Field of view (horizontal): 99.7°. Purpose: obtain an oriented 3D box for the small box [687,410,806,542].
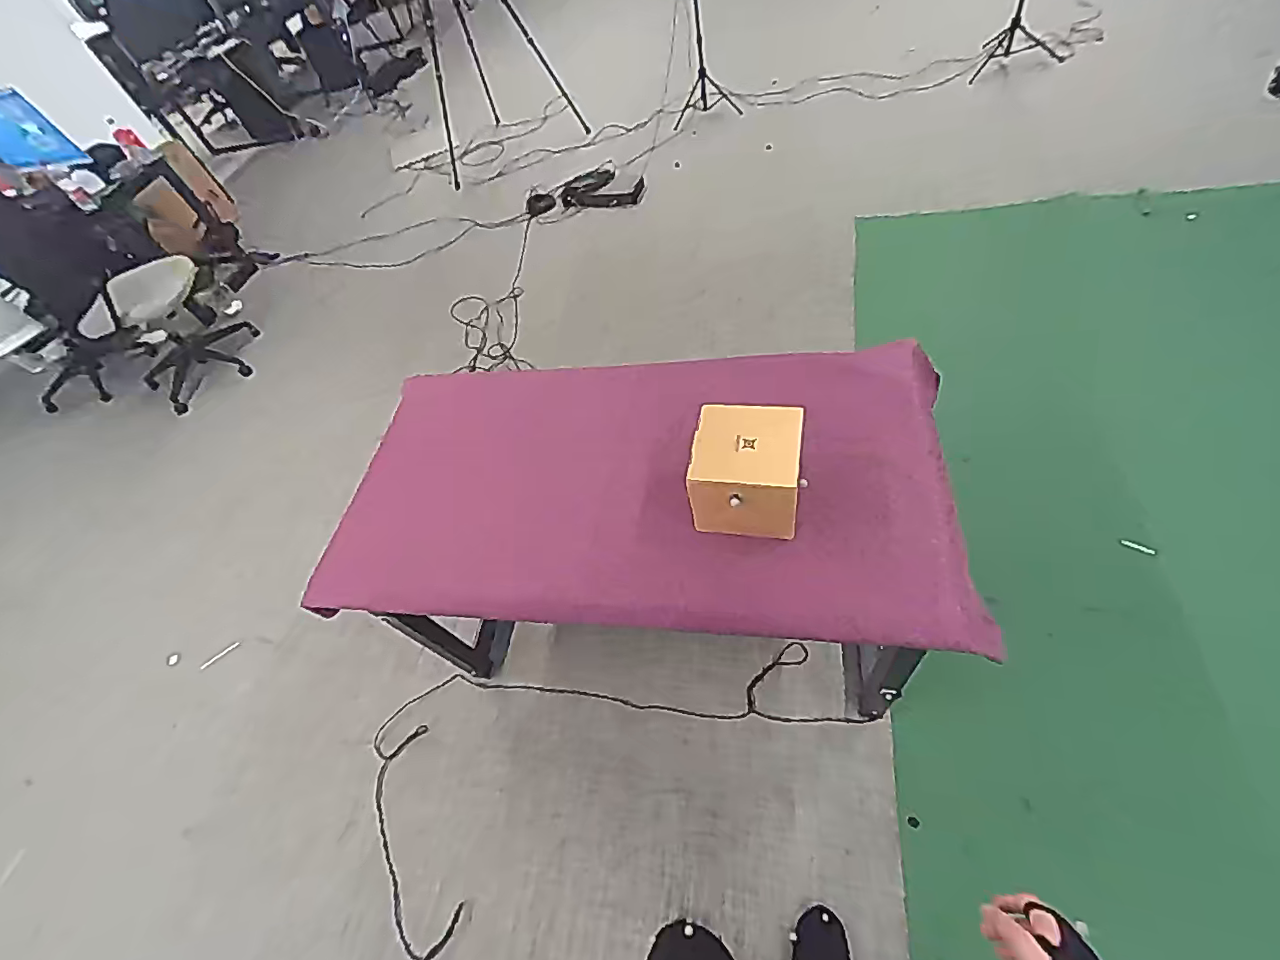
[{"bbox_3d":[0.192,-0.004,0.955,0.179,0.176,0.168,4,56,17],"label":"small box"}]
